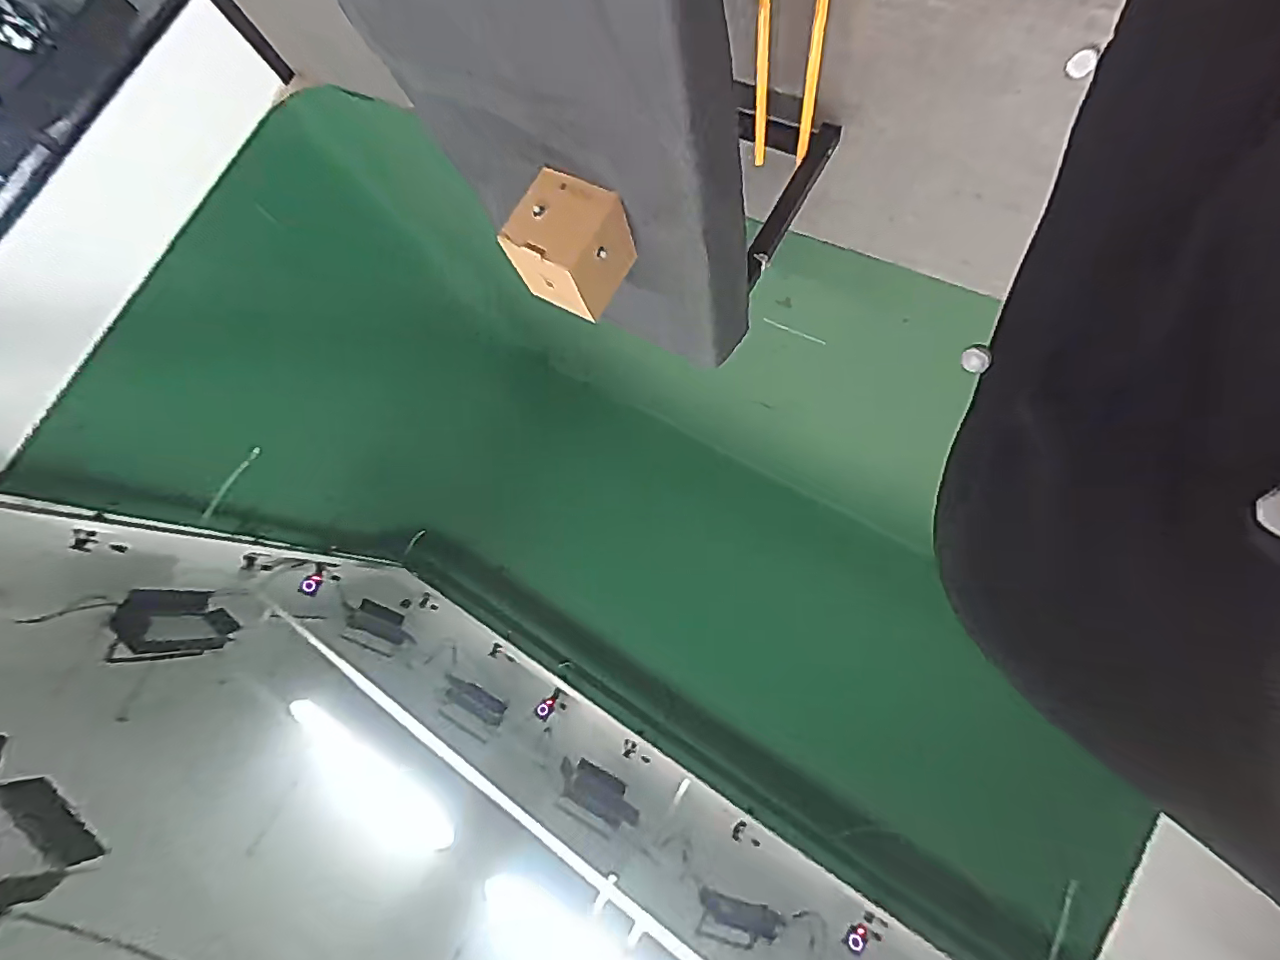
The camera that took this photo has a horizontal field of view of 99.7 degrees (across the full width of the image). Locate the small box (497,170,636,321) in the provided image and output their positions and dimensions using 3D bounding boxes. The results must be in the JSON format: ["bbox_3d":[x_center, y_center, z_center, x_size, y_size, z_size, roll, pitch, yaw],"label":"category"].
[{"bbox_3d":[-0.129,-0.440,1.018,0.168,0.176,0.179,30,174,17],"label":"small box"}]
